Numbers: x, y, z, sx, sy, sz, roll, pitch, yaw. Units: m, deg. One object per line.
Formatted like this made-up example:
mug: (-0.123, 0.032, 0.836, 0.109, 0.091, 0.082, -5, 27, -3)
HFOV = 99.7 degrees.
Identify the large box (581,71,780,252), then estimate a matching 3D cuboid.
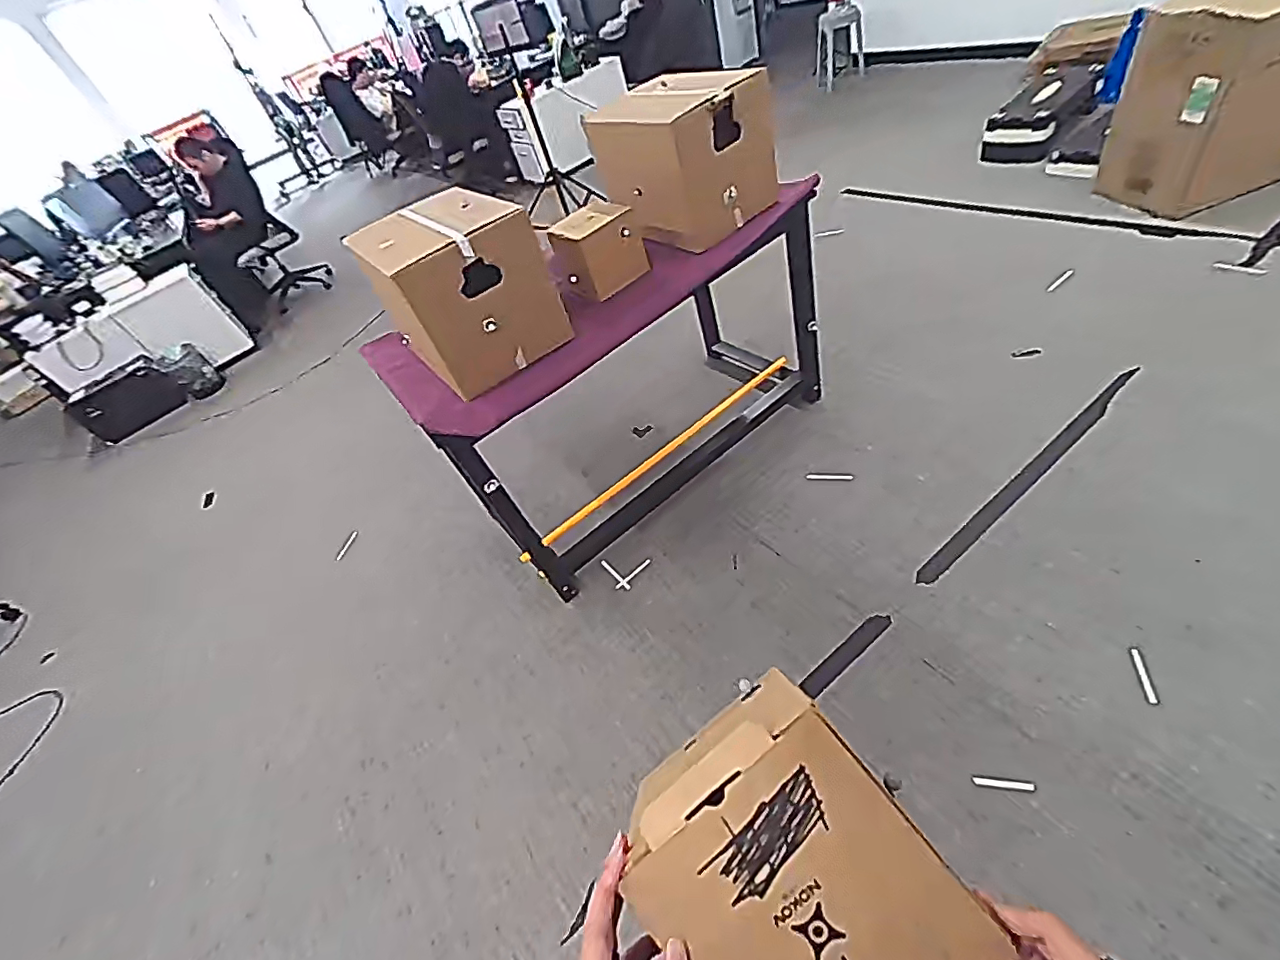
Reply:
large box: (0.114, -0.859, 1.469, 0.320, 0.320, 0.408, -38, 45, -16)

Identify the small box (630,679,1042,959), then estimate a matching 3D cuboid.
small box: (0.116, 0.266, 0.391, 0.168, 0.176, 0.179, -42, 78, -2)
